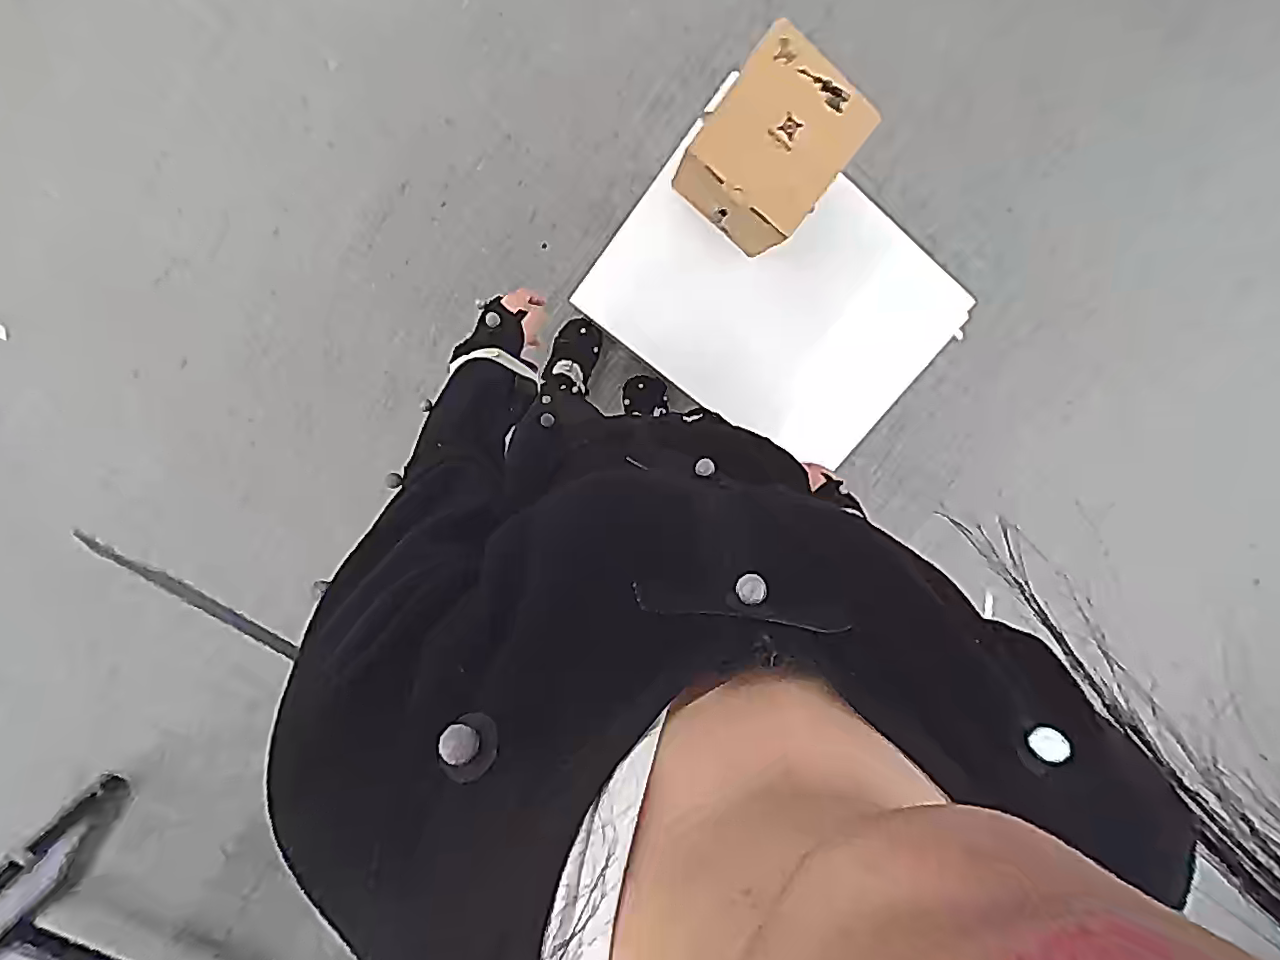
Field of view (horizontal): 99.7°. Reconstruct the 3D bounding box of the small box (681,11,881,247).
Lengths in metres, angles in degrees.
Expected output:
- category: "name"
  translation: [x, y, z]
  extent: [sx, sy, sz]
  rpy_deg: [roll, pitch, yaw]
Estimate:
- category: "small box"
  translation: [0.168, -0.436, 0.714]
  extent: [0.168, 0.176, 0.179]
  rpy_deg: [37, 101, -12]
